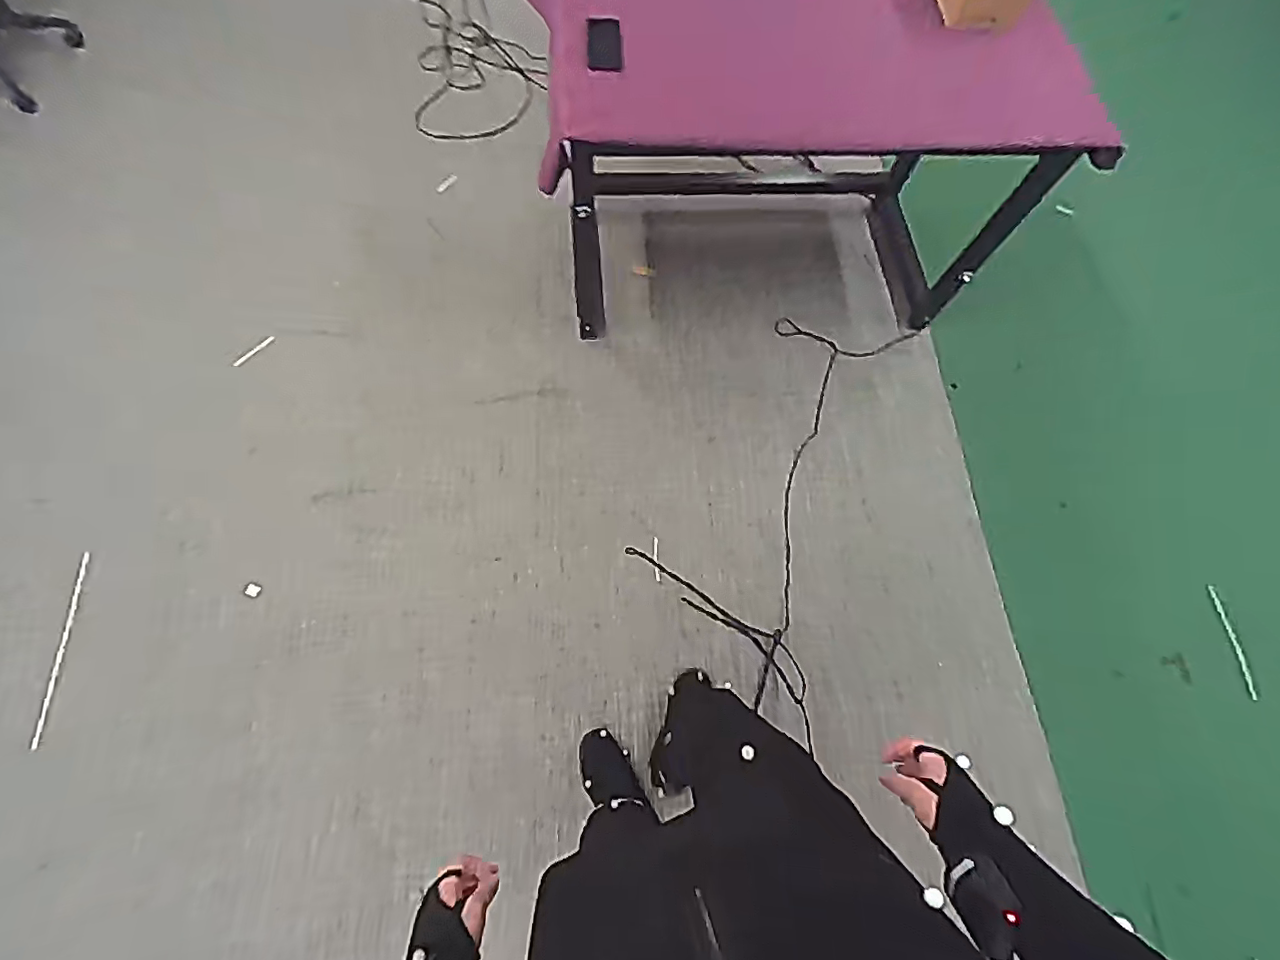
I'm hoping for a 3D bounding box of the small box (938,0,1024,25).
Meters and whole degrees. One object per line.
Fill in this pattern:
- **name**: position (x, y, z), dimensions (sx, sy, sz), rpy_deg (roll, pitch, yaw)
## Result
- **small box**: position (0.793, -1.179, 1.224), dimensions (0.168, 0.176, 0.179), rpy_deg (-2, 70, -3)
